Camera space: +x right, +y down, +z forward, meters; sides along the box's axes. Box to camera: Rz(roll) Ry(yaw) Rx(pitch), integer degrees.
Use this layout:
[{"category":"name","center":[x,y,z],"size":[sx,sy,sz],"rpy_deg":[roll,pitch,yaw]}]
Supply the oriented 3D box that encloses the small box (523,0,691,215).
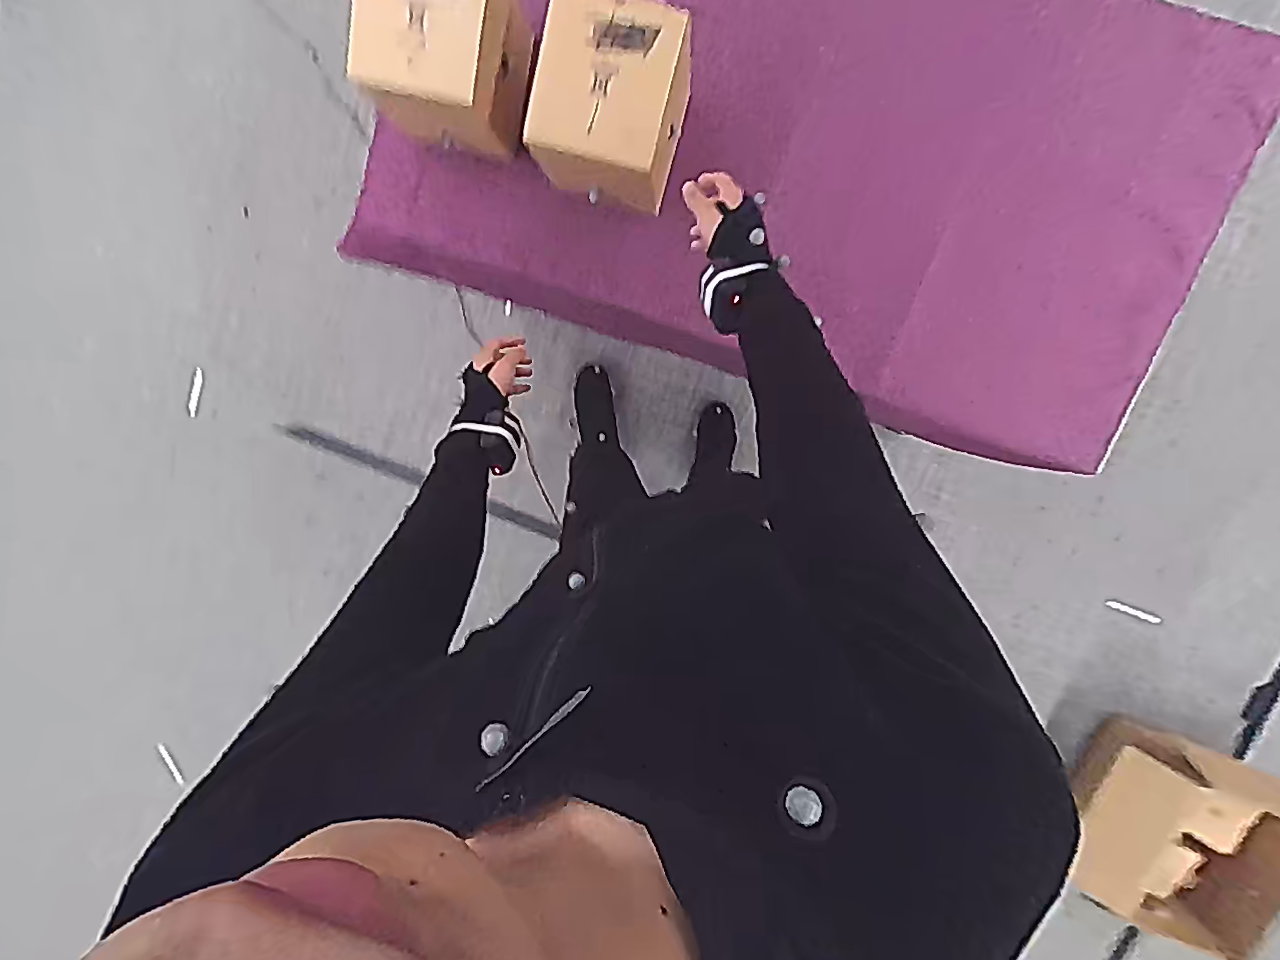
[{"category":"small box","center":[-0.036,-0.482,0.715],"size":[0.168,0.176,0.179],"rpy_deg":[16,100,3]}]
